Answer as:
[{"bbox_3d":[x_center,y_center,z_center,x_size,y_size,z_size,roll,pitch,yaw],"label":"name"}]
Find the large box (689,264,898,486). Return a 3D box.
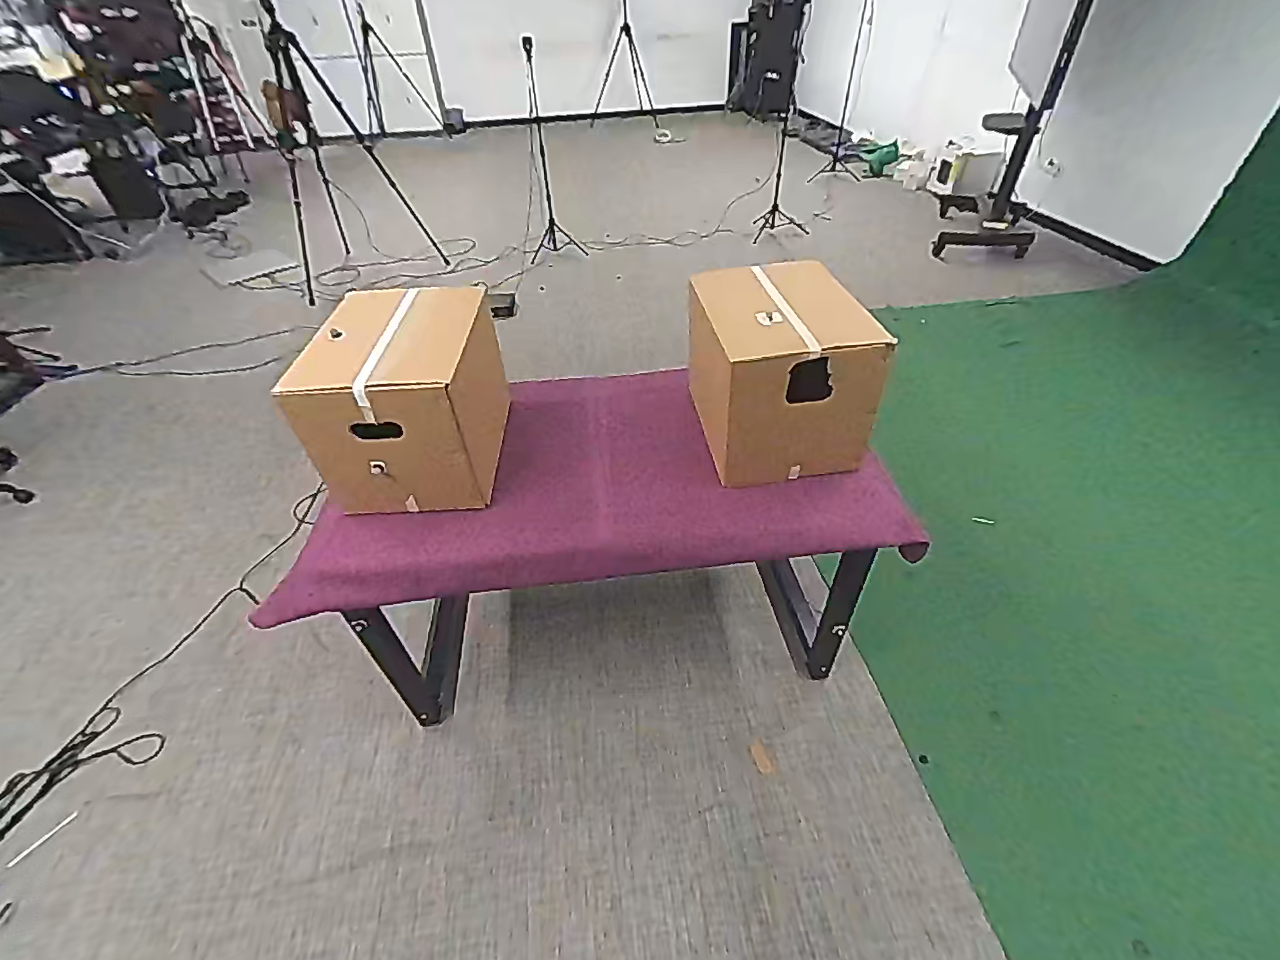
[{"bbox_3d":[0.300,-0.245,1.215,0.320,0.320,0.408,-8,43,-2],"label":"large box"}]
